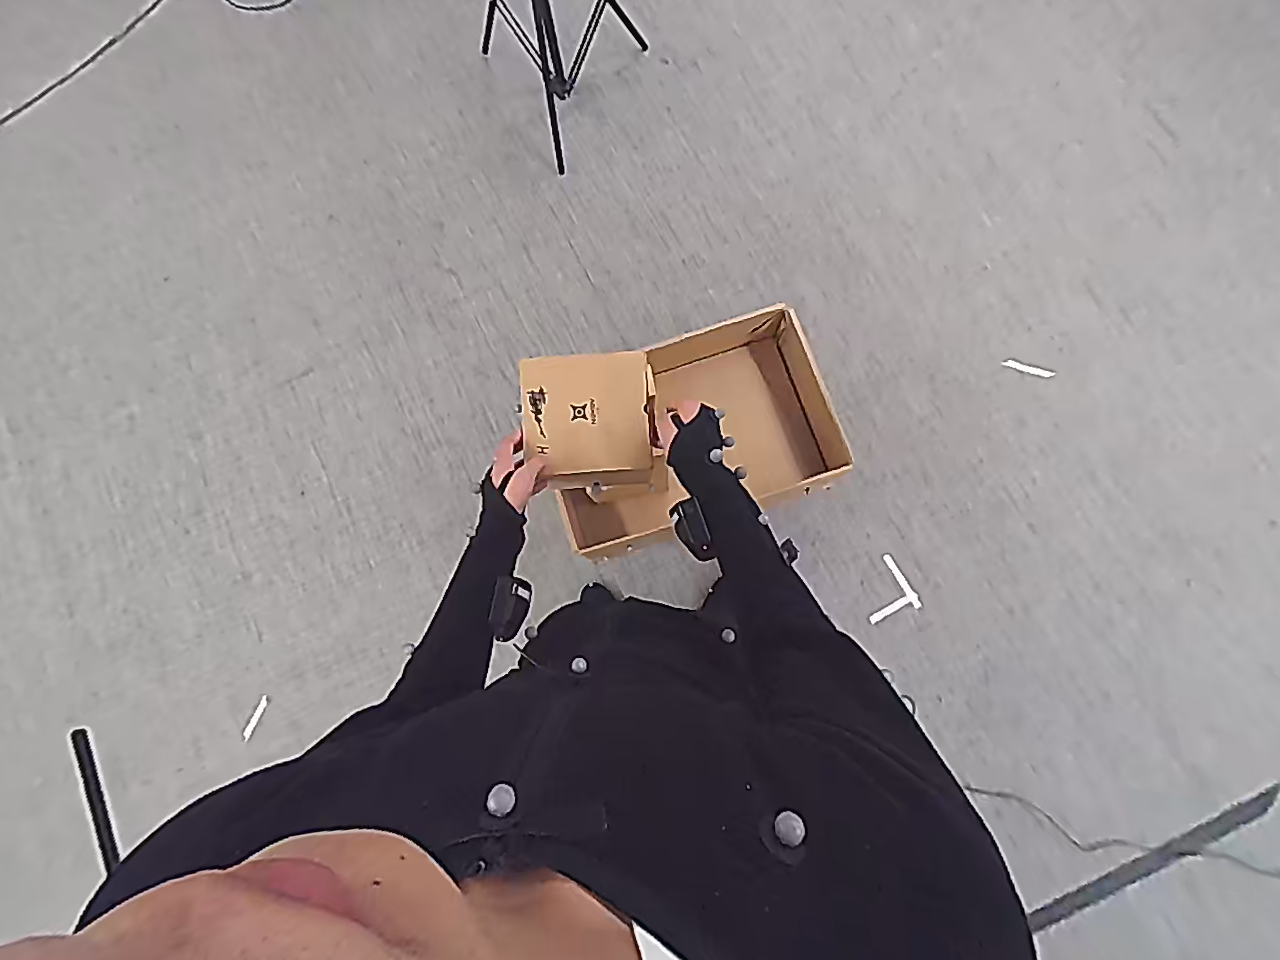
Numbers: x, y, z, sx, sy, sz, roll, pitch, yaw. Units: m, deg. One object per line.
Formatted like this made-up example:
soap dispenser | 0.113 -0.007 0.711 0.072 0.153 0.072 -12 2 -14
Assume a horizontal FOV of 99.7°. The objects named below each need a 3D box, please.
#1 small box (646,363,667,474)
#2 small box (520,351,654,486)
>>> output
small box | -0.041 -0.102 1.044 0.168 0.176 0.179 -10 78 1
small box | -0.075 -0.084 0.808 0.179 0.176 0.168 -3 83 -1
